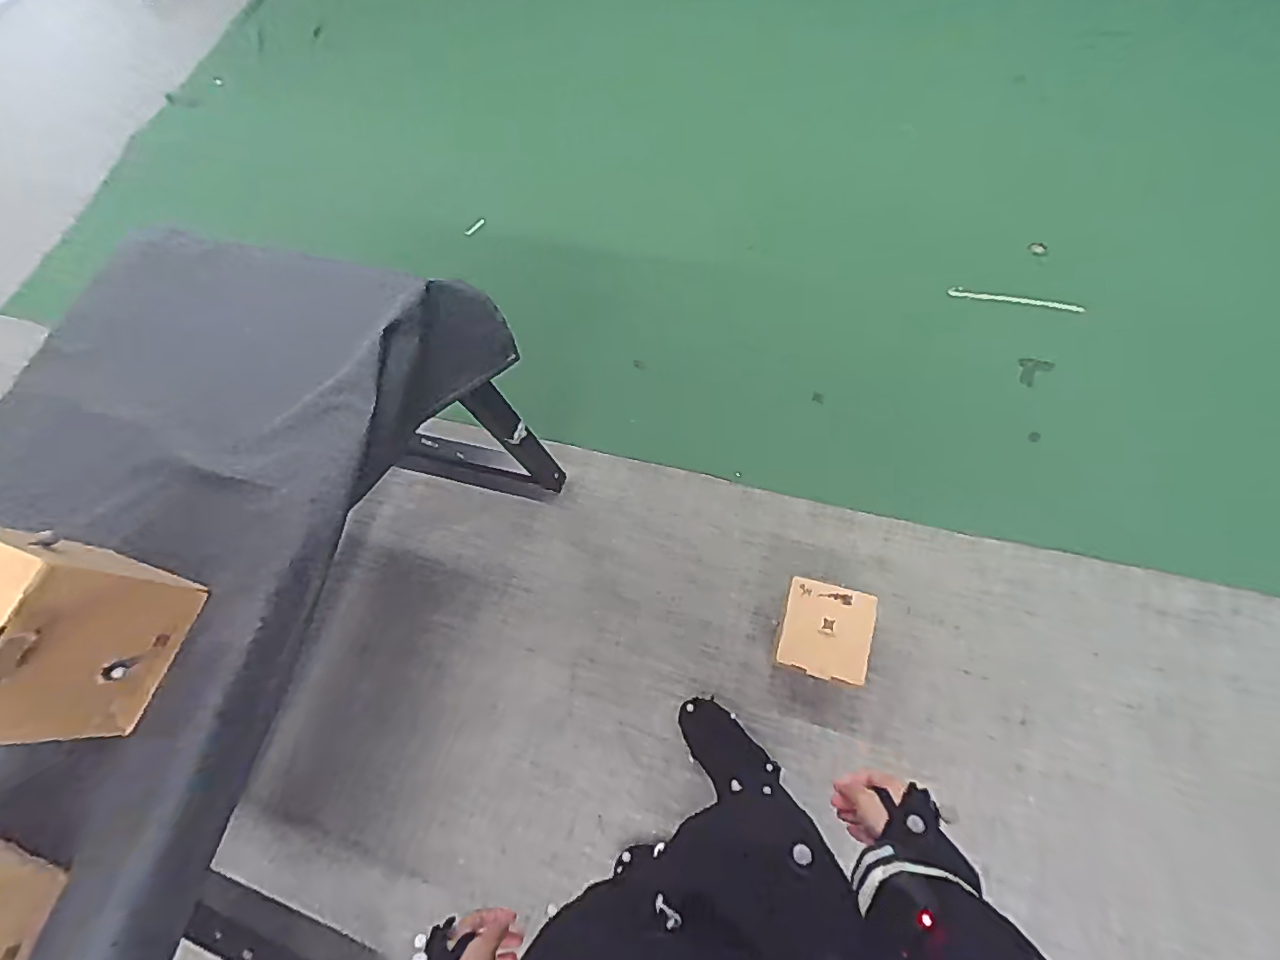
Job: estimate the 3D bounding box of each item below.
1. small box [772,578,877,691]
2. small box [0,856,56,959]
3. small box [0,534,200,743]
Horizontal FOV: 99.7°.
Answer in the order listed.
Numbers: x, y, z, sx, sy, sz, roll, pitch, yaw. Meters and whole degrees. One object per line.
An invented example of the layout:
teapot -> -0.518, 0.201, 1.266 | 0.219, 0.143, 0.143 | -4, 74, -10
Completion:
small box -> 0.370, 0.319, 1.111 | 0.168, 0.176, 0.179 | 13, 73, 14
small box -> -0.683, 0.430, 0.454 | 0.179, 0.176, 0.168 | 11, 71, 13
small box -> -0.622, 0.159, 0.551 | 0.179, 0.176, 0.168 | 14, 72, 14
